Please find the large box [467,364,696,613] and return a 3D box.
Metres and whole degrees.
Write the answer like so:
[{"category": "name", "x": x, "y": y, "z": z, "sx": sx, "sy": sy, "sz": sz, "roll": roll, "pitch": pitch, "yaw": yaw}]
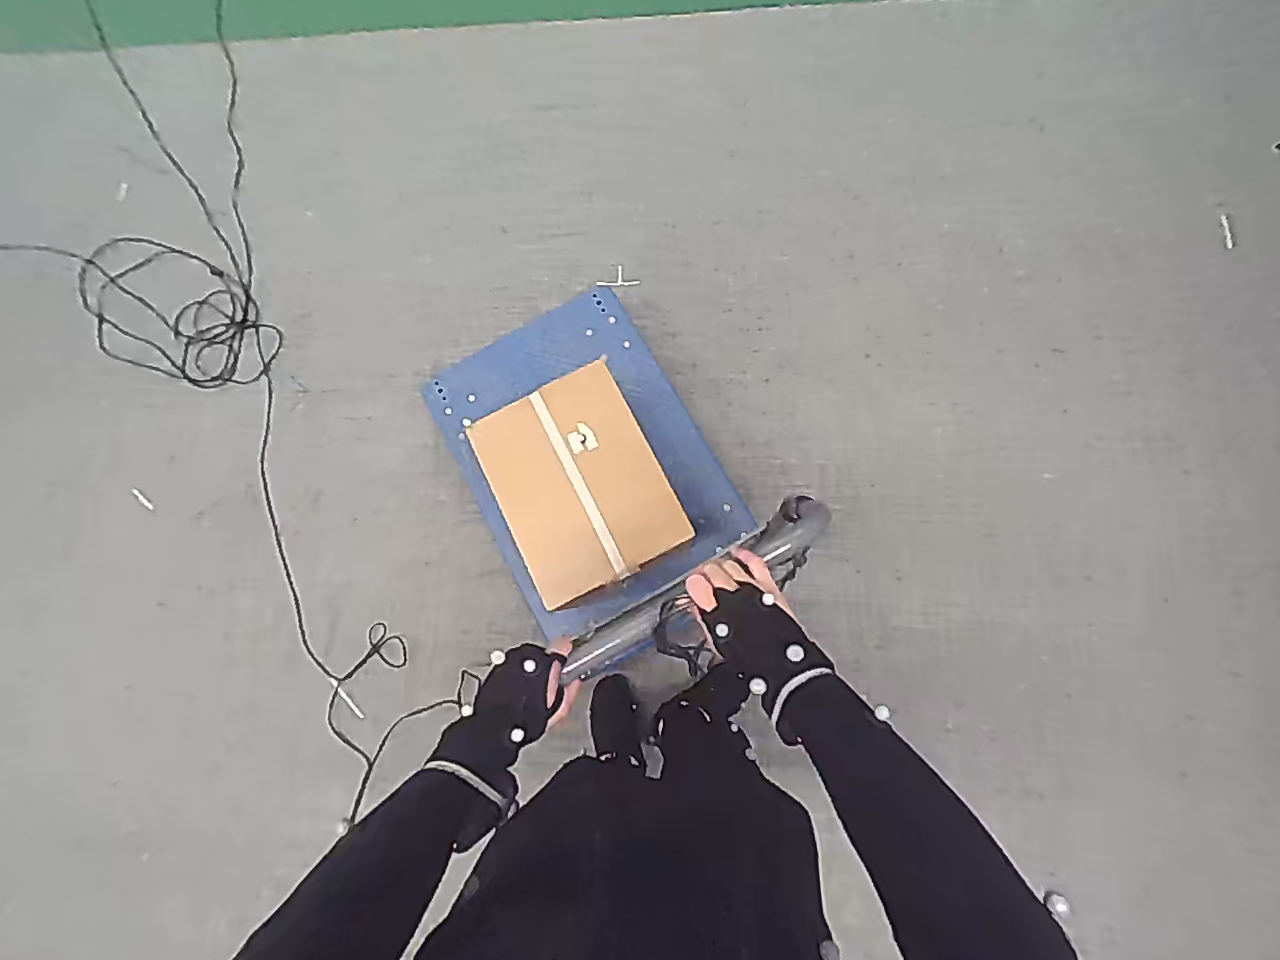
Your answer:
[{"category": "large box", "x": -0.106, "y": 0.036, "z": 1.176, "sx": 0.320, "sy": 0.320, "sz": 0.408, "roll": -27, "pitch": 77, "yaw": -2}]
